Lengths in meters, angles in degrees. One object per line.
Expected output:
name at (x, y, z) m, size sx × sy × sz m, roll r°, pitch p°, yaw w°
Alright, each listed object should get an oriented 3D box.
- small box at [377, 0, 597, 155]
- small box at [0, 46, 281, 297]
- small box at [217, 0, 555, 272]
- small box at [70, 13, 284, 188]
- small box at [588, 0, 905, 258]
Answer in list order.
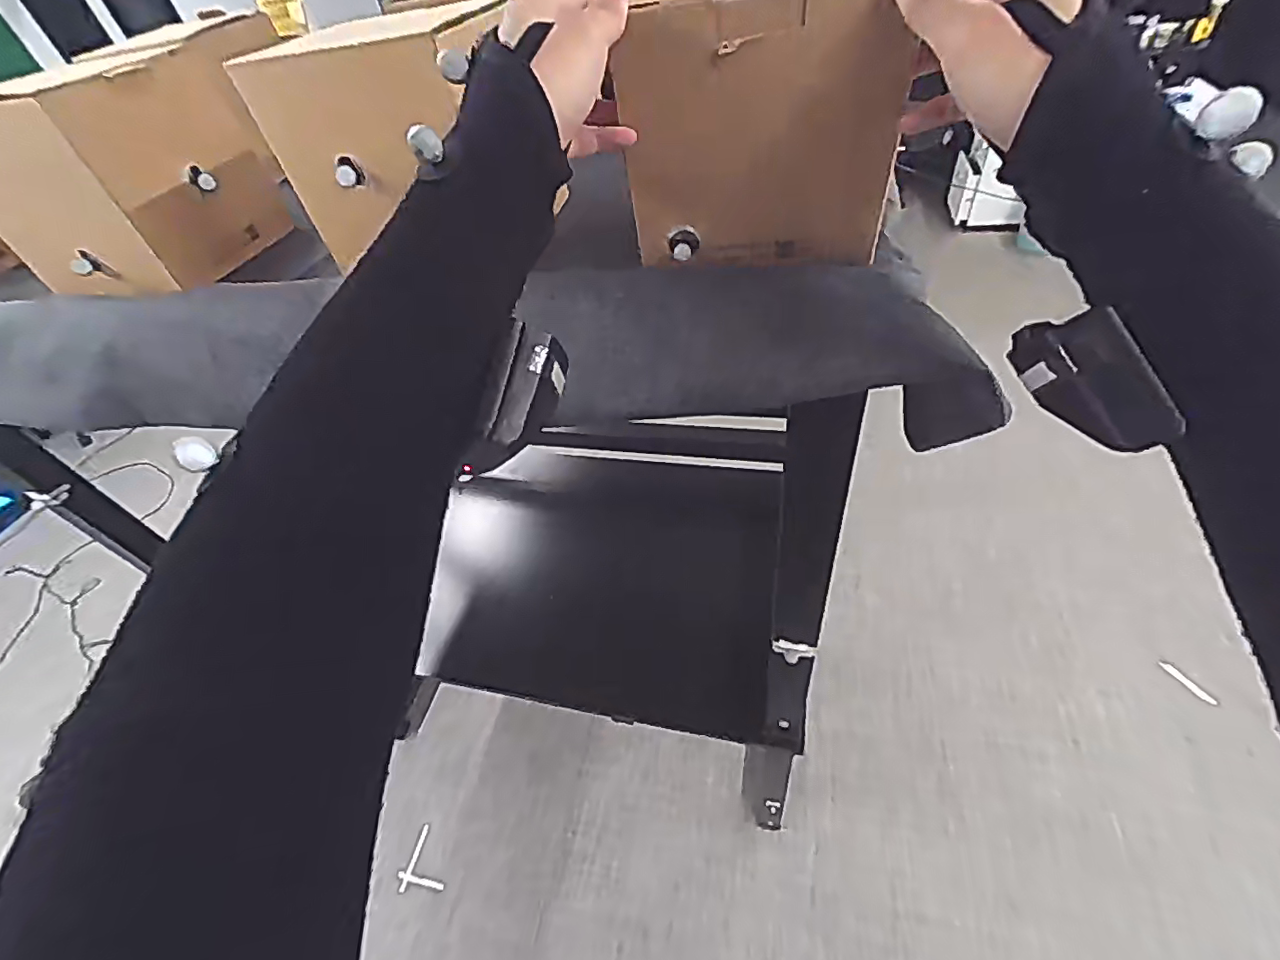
small box at (-0.168, -0.506, 0.659) m, size 0.179 × 0.176 × 0.168 m, roll 4°, pitch 49°, yaw 15°
small box at (-0.506, -0.291, 0.525) m, size 0.179 × 0.176 × 0.168 m, roll 4°, pitch 47°, yaw 13°
small box at (-0.187, -0.293, 0.466) m, size 0.168 × 0.176 × 0.179 m, roll 2°, pitch 47°, yaw 13°
small box at (-0.591, -0.517, 0.753) m, size 0.168 × 0.176 × 0.179 m, roll -2°, pitch 47°, yaw 11°
small box at (0.073, -0.272, 0.373) m, size 0.168 × 0.176 × 0.179 m, roll -1°, pitch 55°, yaw 10°
